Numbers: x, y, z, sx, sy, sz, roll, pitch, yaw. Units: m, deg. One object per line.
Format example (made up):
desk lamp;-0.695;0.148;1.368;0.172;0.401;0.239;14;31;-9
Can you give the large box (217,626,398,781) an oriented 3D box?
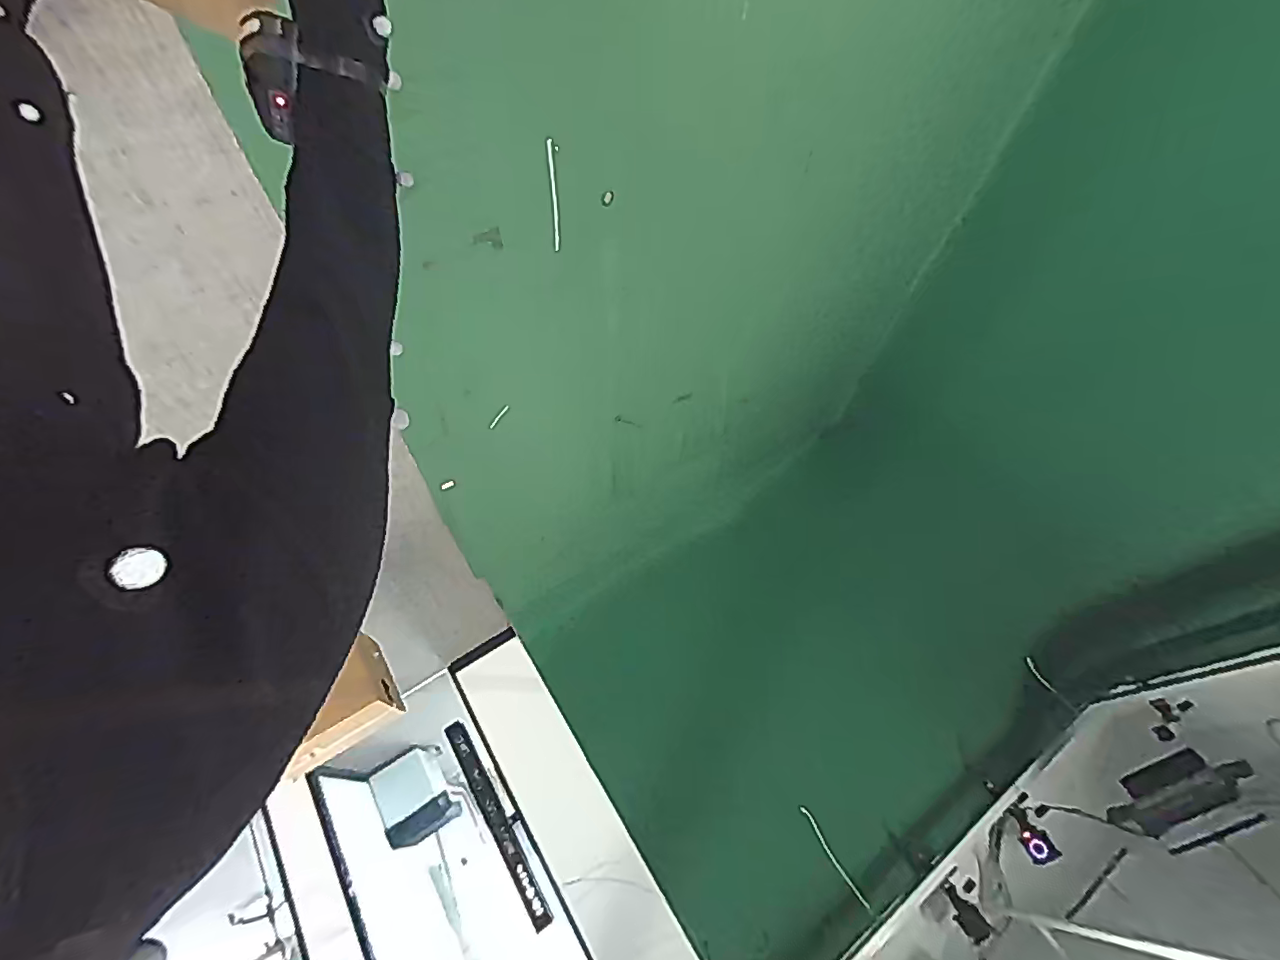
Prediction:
large box;-1.126;0.767;1.868;0.408;0.320;0.320;-28;157;-20
